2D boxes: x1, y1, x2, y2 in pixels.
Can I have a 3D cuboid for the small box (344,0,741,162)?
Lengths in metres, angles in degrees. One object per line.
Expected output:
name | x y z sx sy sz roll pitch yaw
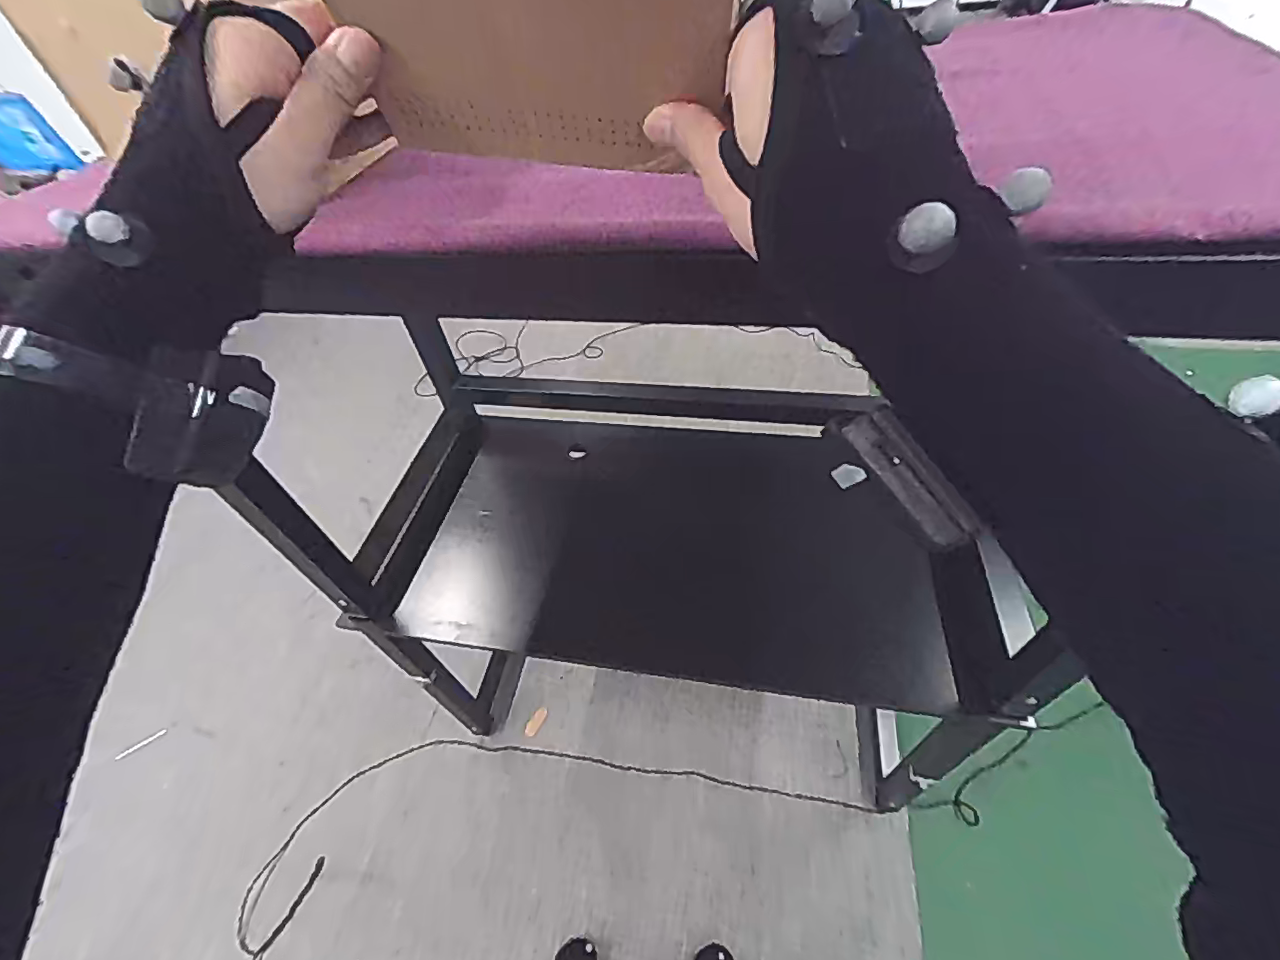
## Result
small box | -0.039 -0.274 0.236 0.179 0.176 0.168 9 77 5

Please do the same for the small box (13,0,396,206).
small box | -0.357 -0.355 0.474 0.179 0.176 0.168 3 48 11
